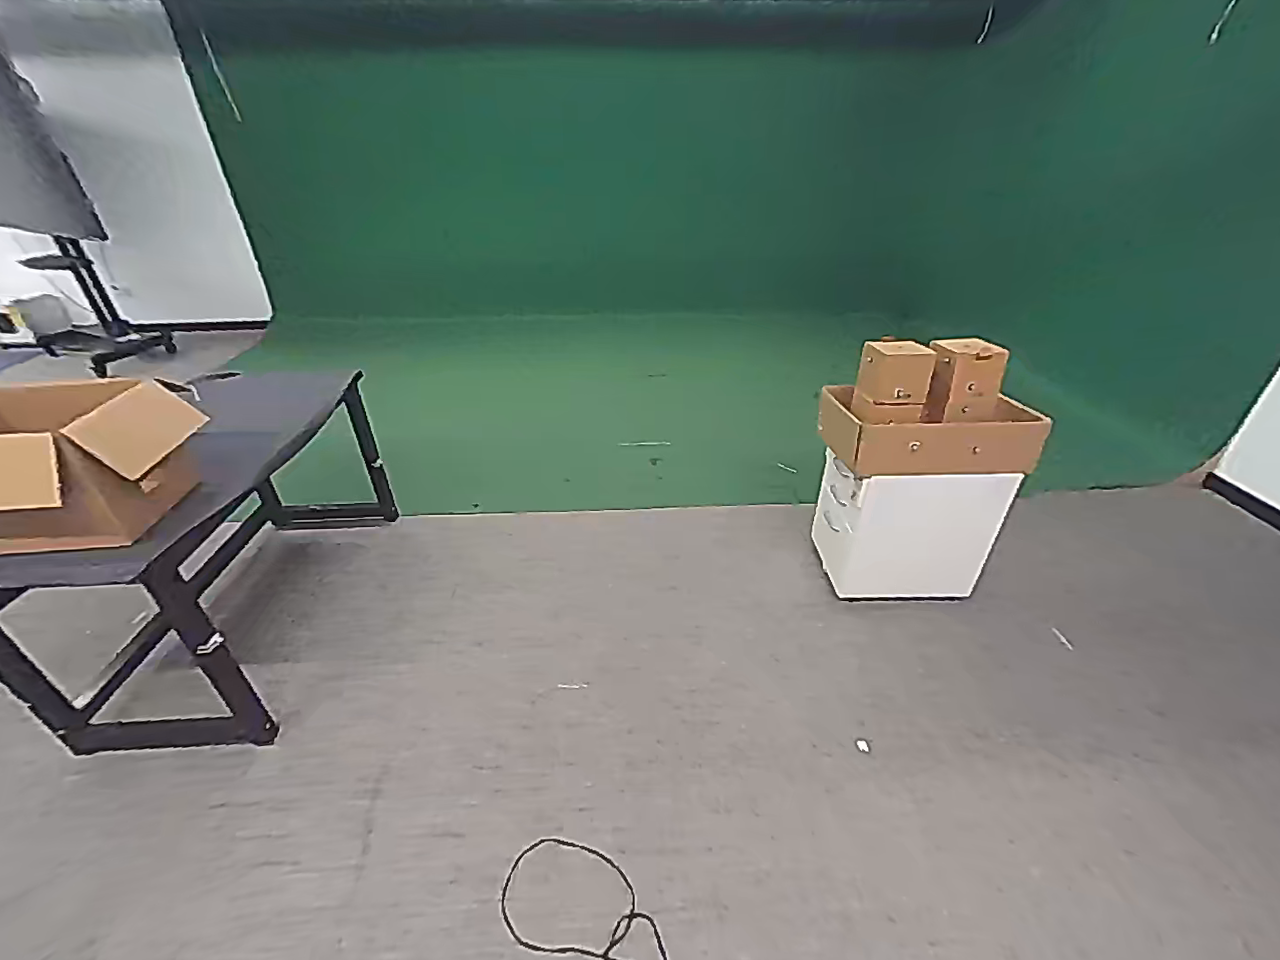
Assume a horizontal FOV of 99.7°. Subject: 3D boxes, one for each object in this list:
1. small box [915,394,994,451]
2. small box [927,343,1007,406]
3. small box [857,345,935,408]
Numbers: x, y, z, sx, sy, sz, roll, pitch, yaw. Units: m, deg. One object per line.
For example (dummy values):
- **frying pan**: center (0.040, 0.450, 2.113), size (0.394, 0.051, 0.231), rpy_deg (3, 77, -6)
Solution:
- **small box**: center (1.090, -0.210, 1.890), size (0.168, 0.176, 0.179), rpy_deg (-4, 26, 0)
- **small box**: center (1.080, -0.356, 1.819), size (0.168, 0.176, 0.179), rpy_deg (-4, 28, -1)
- **small box**: center (0.847, -0.347, 1.806), size (0.168, 0.176, 0.179), rpy_deg (-2, 27, -1)
